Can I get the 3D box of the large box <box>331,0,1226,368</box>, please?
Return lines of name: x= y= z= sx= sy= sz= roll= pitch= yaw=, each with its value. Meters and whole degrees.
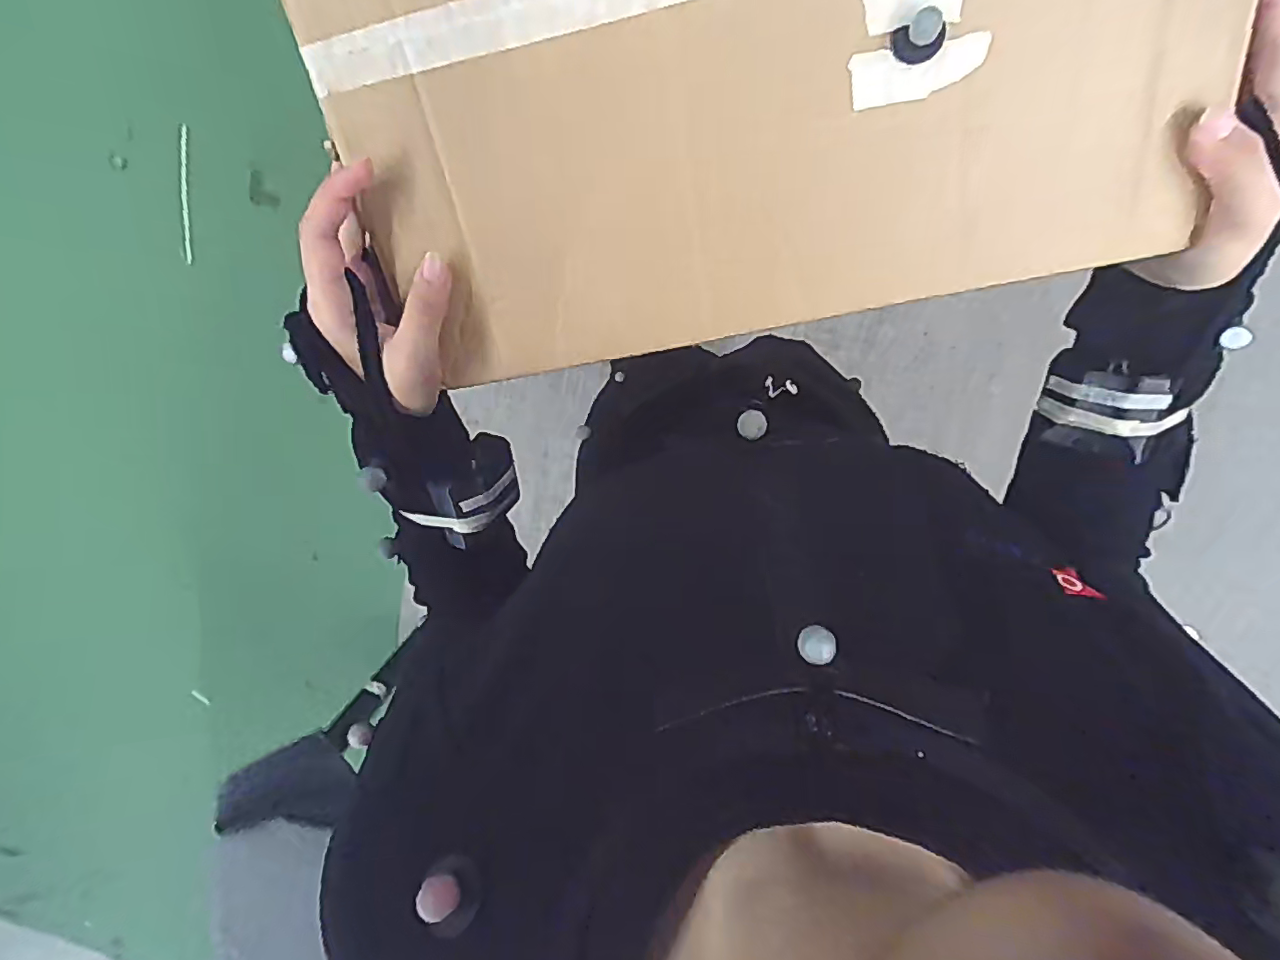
large box: x=0.057 y=-0.294 z=0.376 sx=0.408 sy=0.320 sz=0.320 roll=-9 pitch=113 yaw=6
